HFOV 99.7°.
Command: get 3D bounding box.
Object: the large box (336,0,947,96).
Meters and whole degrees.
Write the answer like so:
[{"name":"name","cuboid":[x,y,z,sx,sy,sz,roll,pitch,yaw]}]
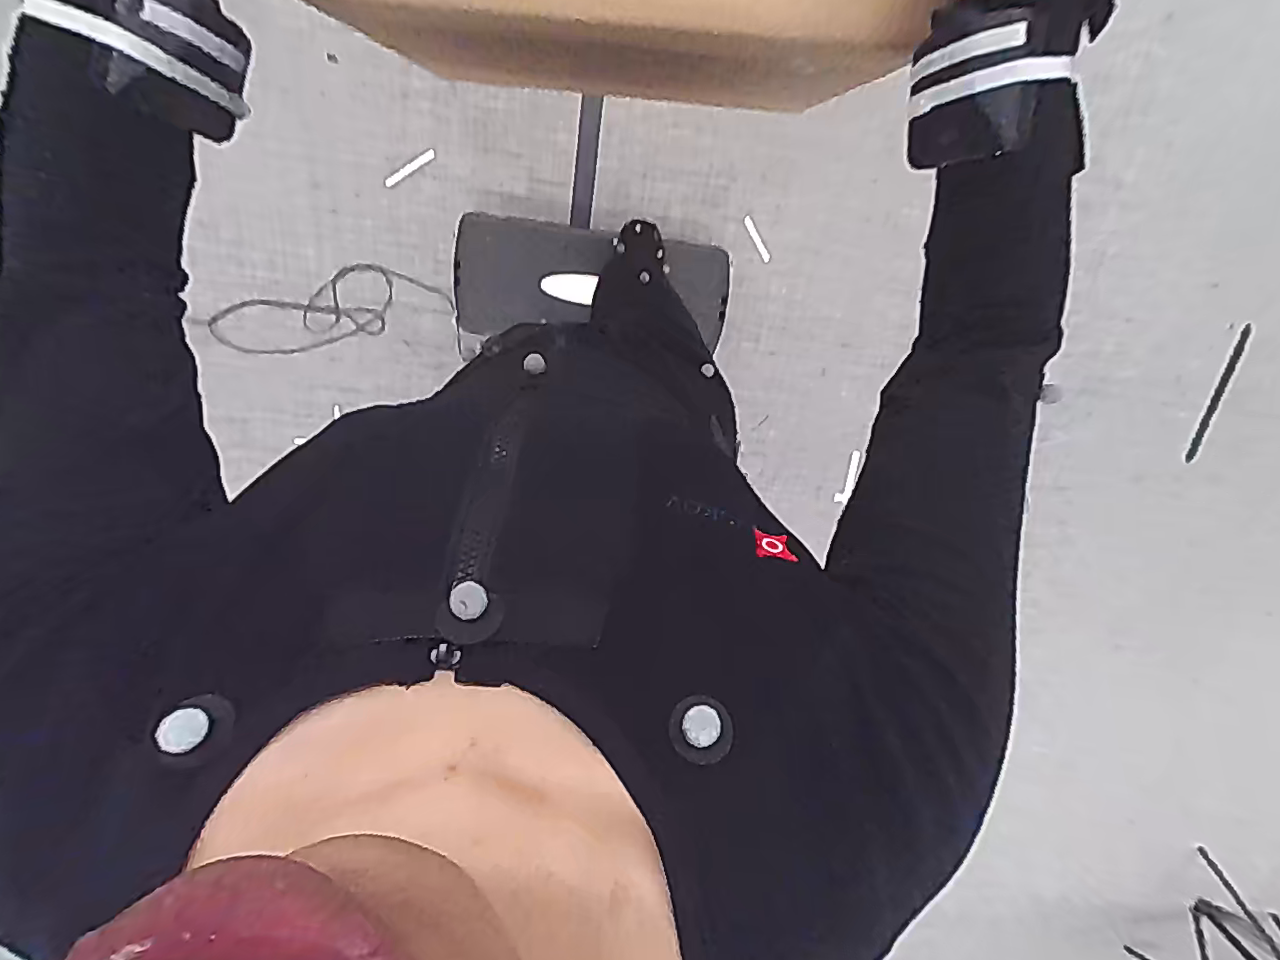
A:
[{"name":"large box","cuboid":[-0.005,-0.497,0.394,0.408,0.320,0.320,2,119,-3]}]
